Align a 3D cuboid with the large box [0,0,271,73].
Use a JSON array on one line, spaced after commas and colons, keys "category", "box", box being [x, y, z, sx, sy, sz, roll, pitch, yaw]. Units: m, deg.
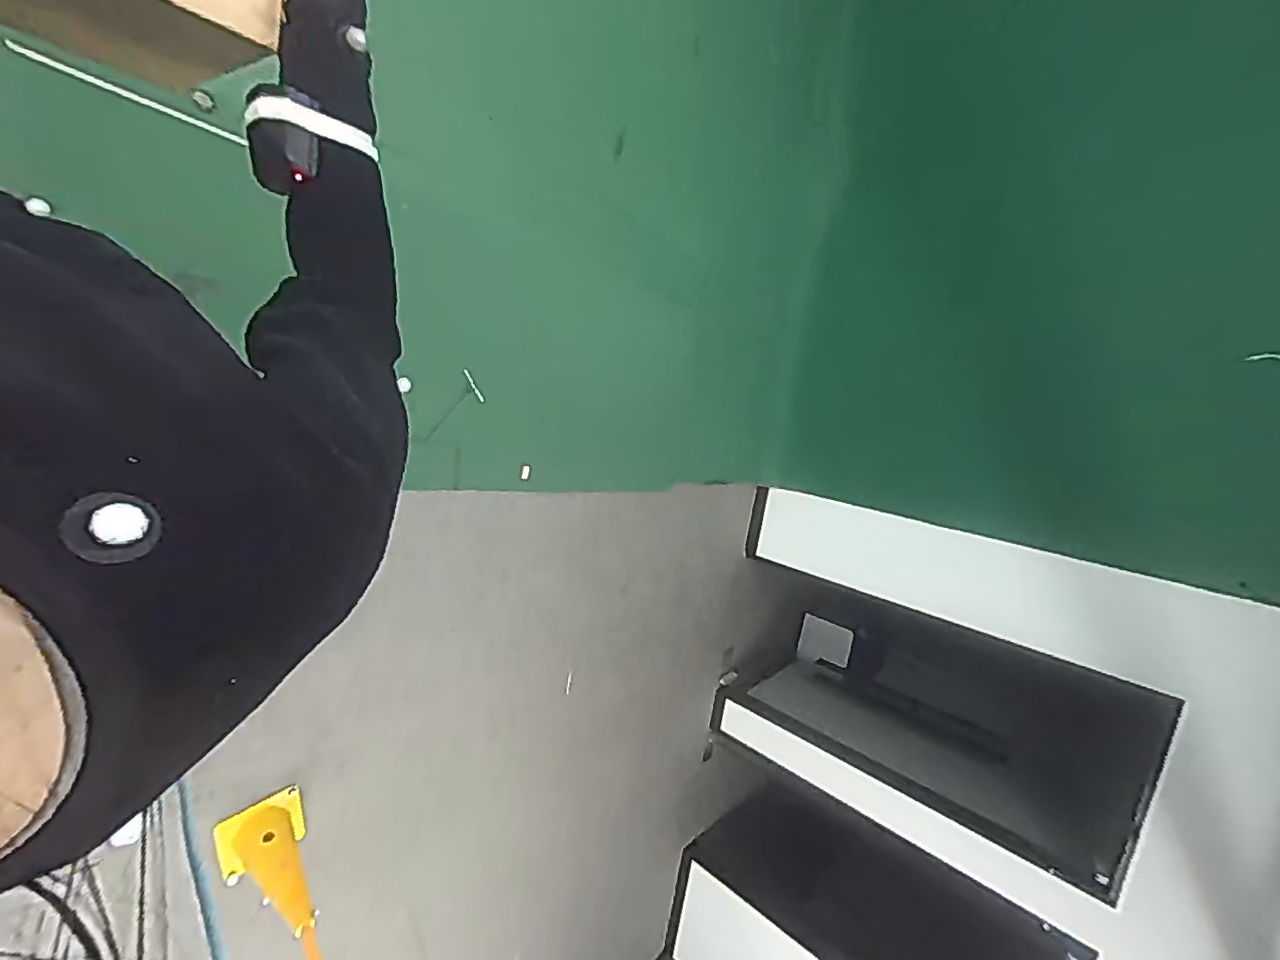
[{"category": "large box", "box": [-0.490, -0.517, 0.317, 0.408, 0.320, 0.320, -5, 113, -50]}]
